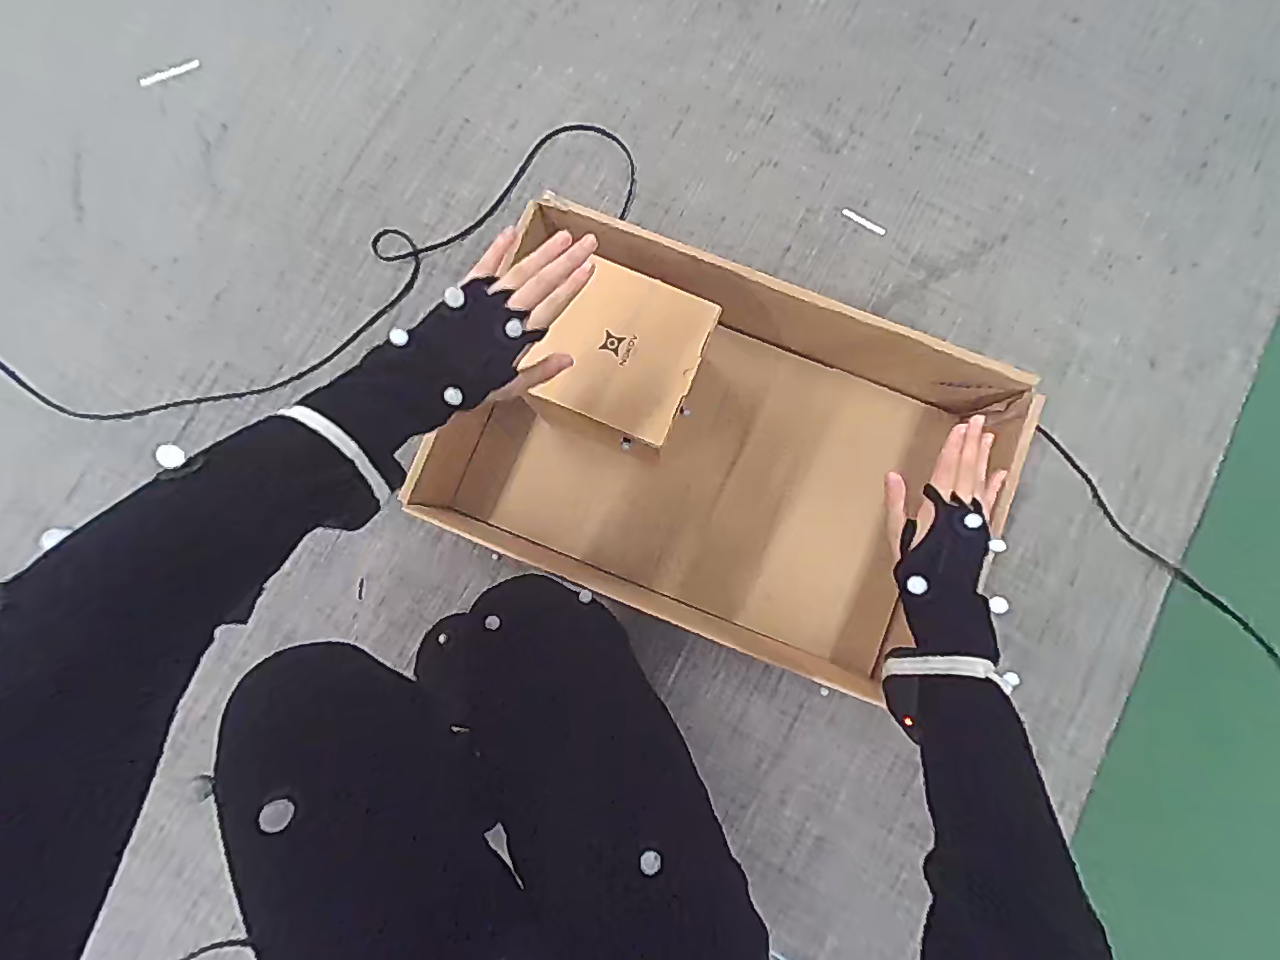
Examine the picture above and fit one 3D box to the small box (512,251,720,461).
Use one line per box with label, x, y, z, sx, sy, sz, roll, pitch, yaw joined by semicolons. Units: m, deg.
small box;-0.025;-0.132;0.647;0.179;0.176;0.168;23;85;1
